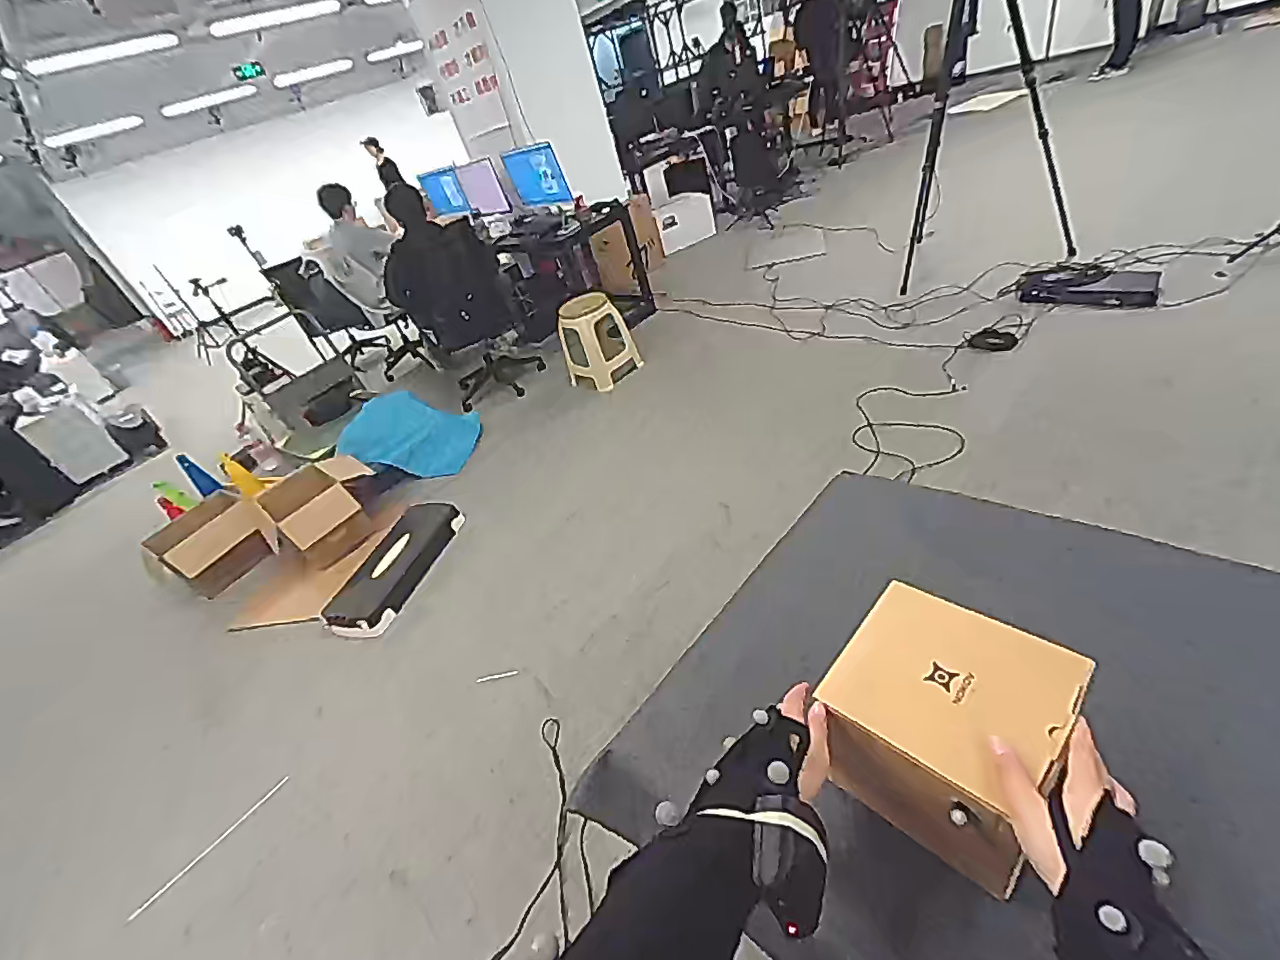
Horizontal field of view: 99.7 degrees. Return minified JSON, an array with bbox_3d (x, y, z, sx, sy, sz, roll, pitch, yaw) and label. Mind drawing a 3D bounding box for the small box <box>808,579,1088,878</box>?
[{"bbox_3d":[0.290,0.236,0.528,0.179,0.176,0.168,22,53,43],"label":"small box"}]
